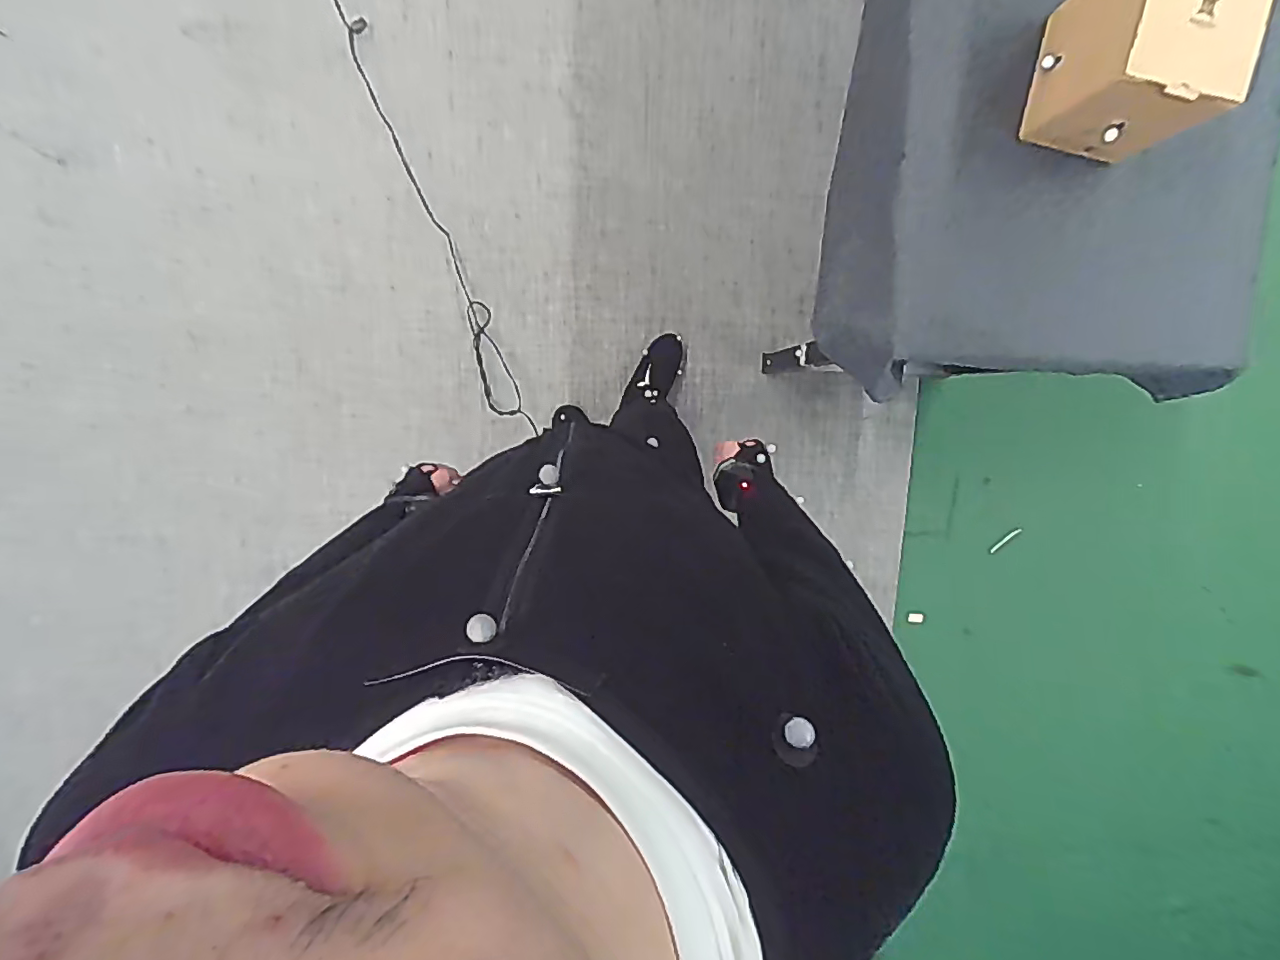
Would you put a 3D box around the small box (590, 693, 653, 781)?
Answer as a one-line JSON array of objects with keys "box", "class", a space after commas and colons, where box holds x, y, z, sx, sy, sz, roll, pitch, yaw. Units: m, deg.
[{"box": [-0.059, 0.756, 1.597, 0.168, 0.176, 0.179, 3, 98, -8], "class": "small box"}]

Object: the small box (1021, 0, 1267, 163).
[{"box": [0.668, -0.566, 0.736, 0.168, 0.176, 0.179, 9, 98, -6], "class": "small box"}]
